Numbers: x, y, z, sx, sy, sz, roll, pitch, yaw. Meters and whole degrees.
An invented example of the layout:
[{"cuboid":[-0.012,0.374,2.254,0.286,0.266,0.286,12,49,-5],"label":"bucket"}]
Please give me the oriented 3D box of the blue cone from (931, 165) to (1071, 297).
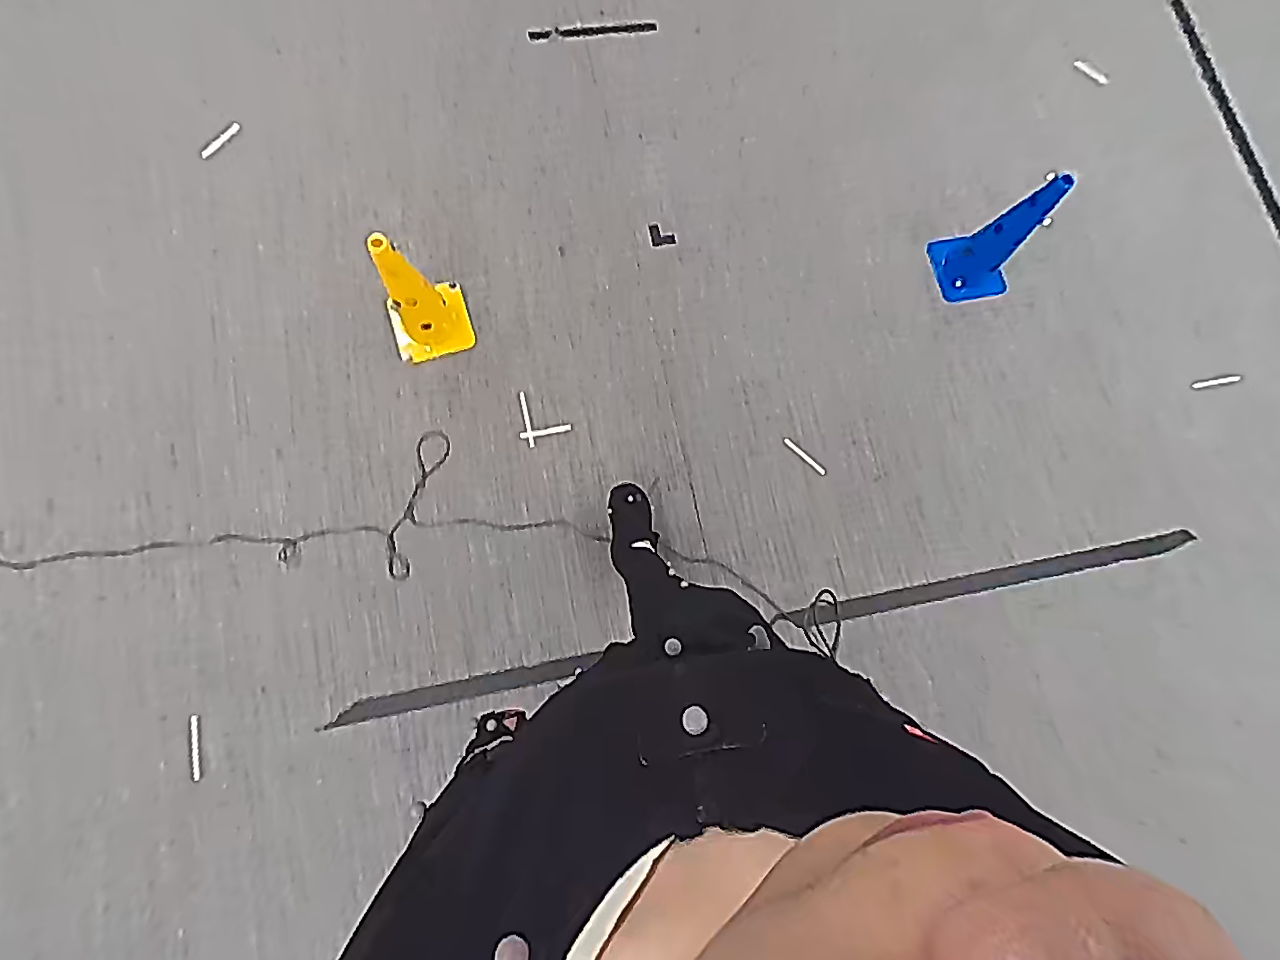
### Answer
[{"cuboid":[0.967,-0.660,1.419,0.193,0.380,0.192,-10,79,-6],"label":"blue cone"}]
